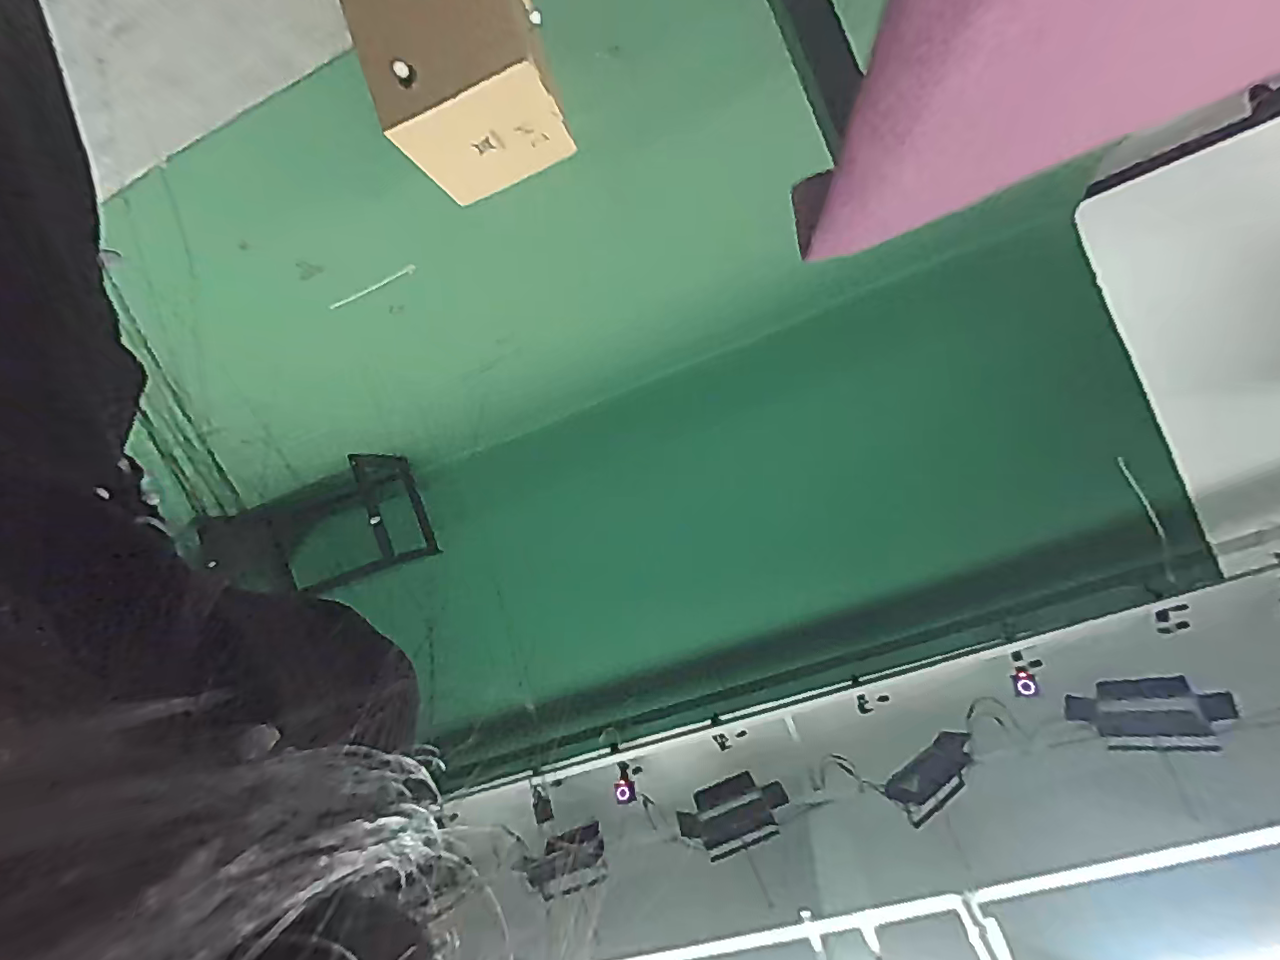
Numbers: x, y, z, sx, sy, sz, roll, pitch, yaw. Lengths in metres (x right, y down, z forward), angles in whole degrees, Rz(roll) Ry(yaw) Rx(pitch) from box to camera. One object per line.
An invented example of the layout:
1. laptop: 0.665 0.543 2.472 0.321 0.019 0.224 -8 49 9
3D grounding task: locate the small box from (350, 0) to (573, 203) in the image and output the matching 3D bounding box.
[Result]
1. small box: -0.204 -0.472 0.630 0.179 0.176 0.168 -20 178 10
